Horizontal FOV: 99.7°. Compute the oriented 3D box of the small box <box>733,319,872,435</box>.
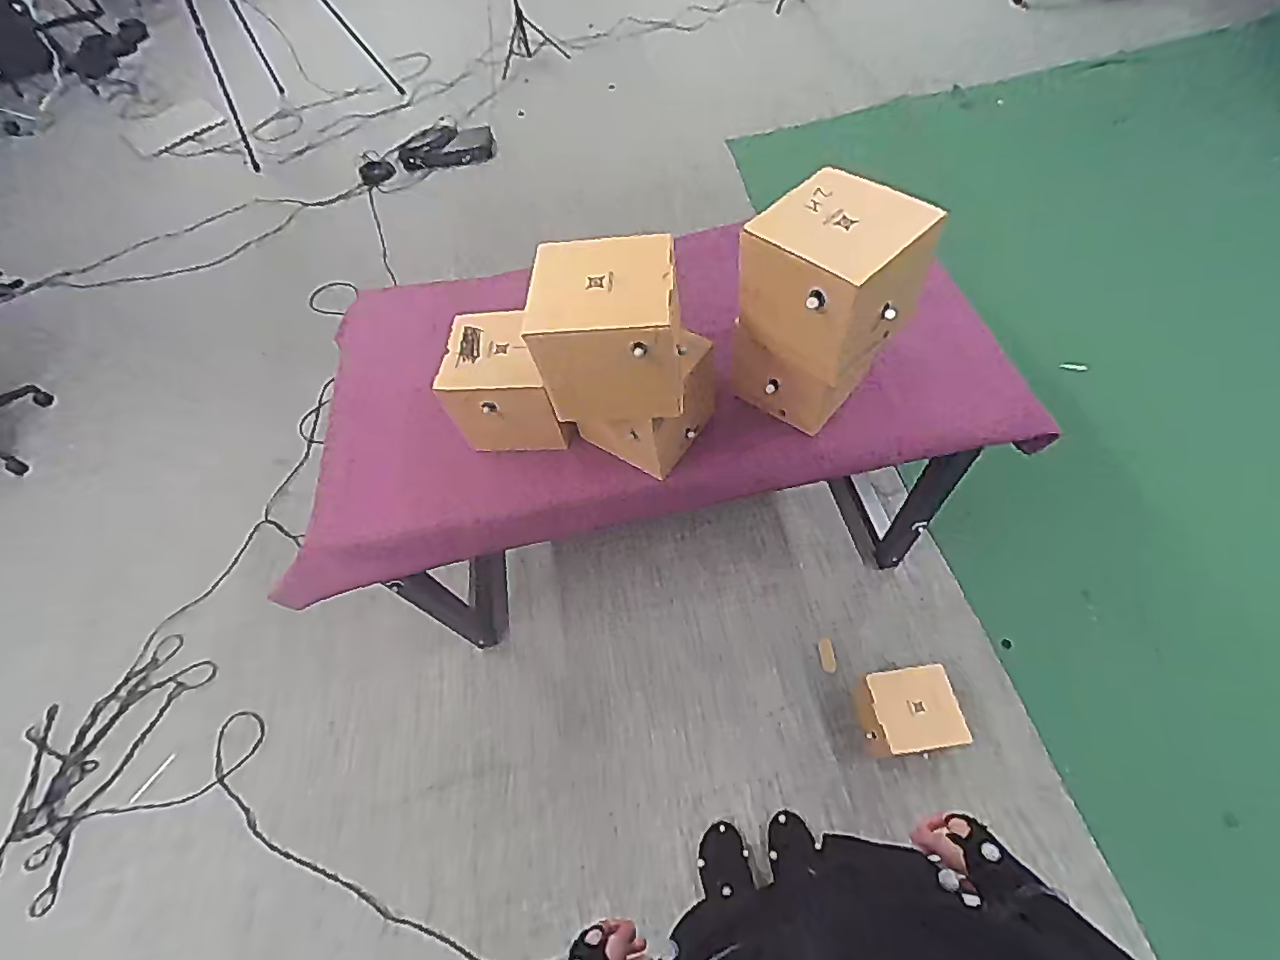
[{"bbox_3d":[0.268,-0.205,0.876,0.168,0.176,0.179,34,70,26],"label":"small box"}]

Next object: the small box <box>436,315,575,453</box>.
[{"bbox_3d":[-0.211,-0.157,0.917,0.179,0.176,0.168,-1,59,7],"label":"small box"}]

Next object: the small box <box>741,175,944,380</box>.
[{"bbox_3d":[0.253,-0.259,0.716,0.168,0.176,0.179,-39,60,-16],"label":"small box"}]

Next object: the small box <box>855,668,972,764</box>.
[{"bbox_3d":[0.605,0.541,1.231,0.179,0.176,0.168,-9,58,2],"label":"small box"}]

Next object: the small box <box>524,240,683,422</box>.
[{"bbox_3d":[-0.035,-0.189,0.718,0.179,0.176,0.168,-2,58,7],"label":"small box"}]
